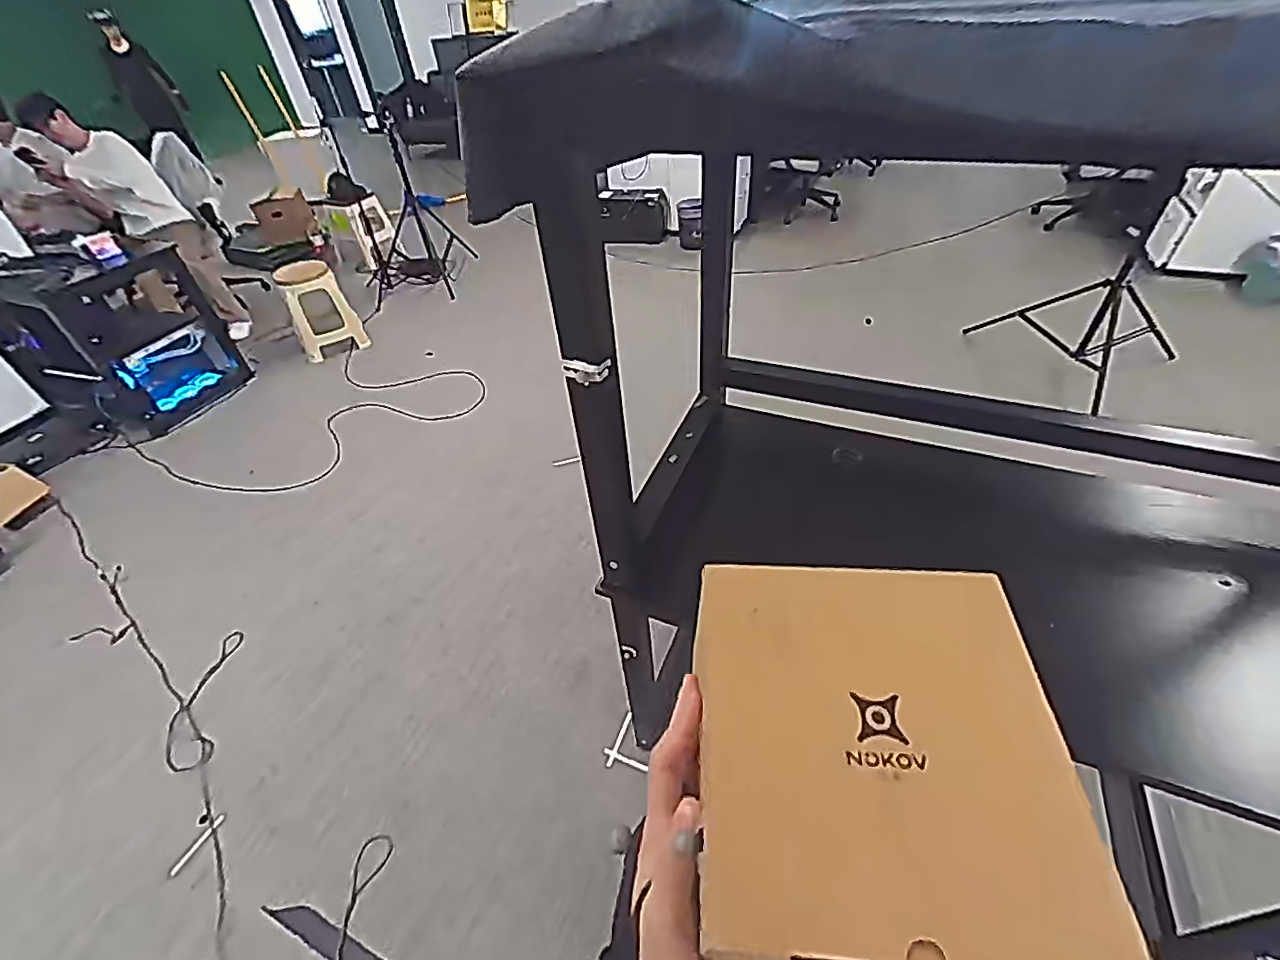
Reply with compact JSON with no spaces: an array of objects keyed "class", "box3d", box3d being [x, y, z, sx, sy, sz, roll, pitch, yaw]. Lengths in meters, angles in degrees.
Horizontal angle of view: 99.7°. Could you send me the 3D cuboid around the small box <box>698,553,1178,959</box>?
[{"class":"small box","box3d":[0.119,0.162,0.311,0.168,0.176,0.179,1,50,4]}]
